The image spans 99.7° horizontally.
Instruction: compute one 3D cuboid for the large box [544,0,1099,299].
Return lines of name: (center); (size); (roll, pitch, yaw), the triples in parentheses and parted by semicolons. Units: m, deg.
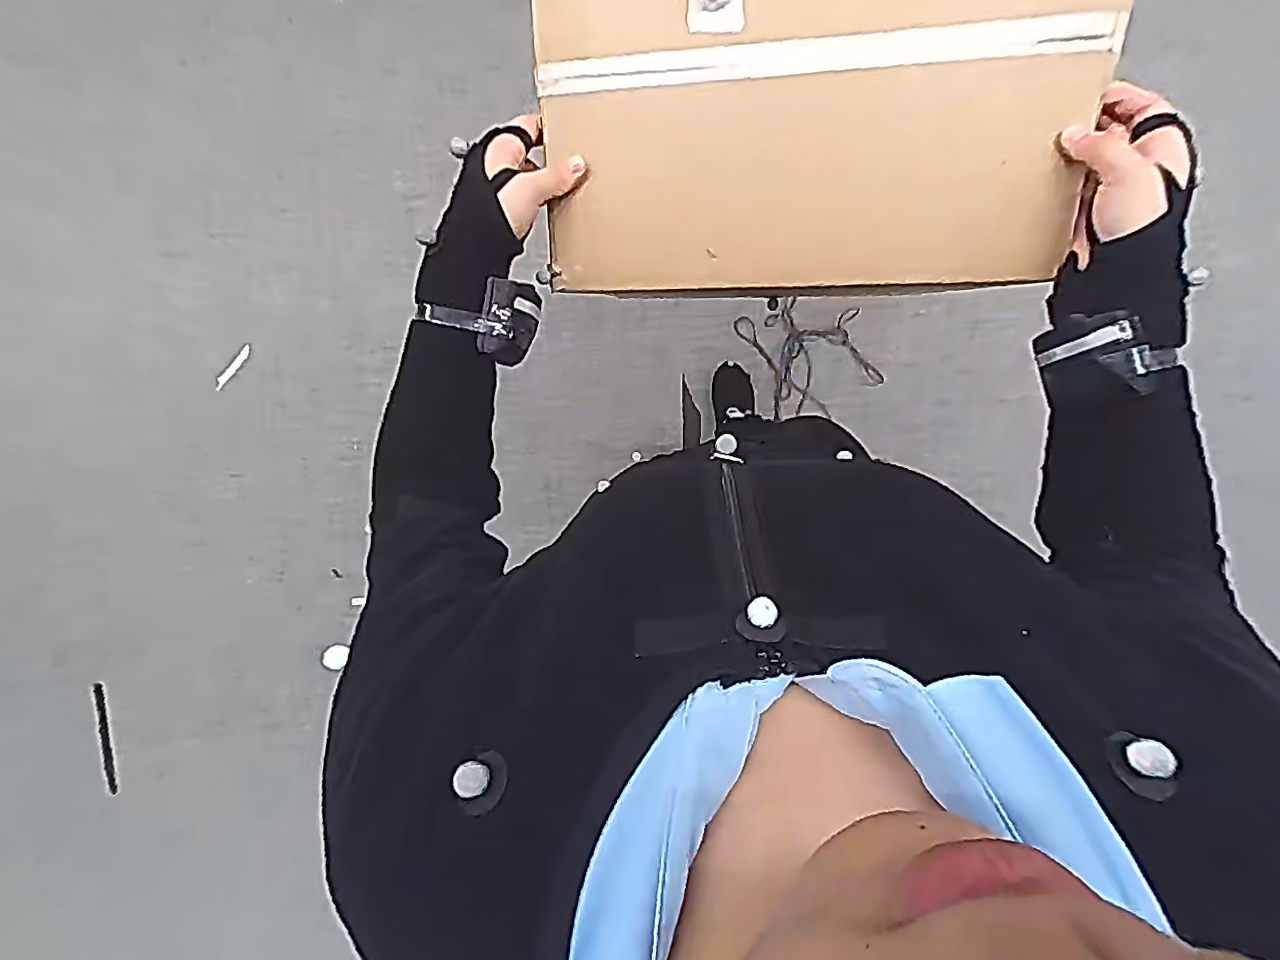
large box: (0.147, -0.357, 0.551); (0.408, 0.320, 0.320); (1, 106, 10)
